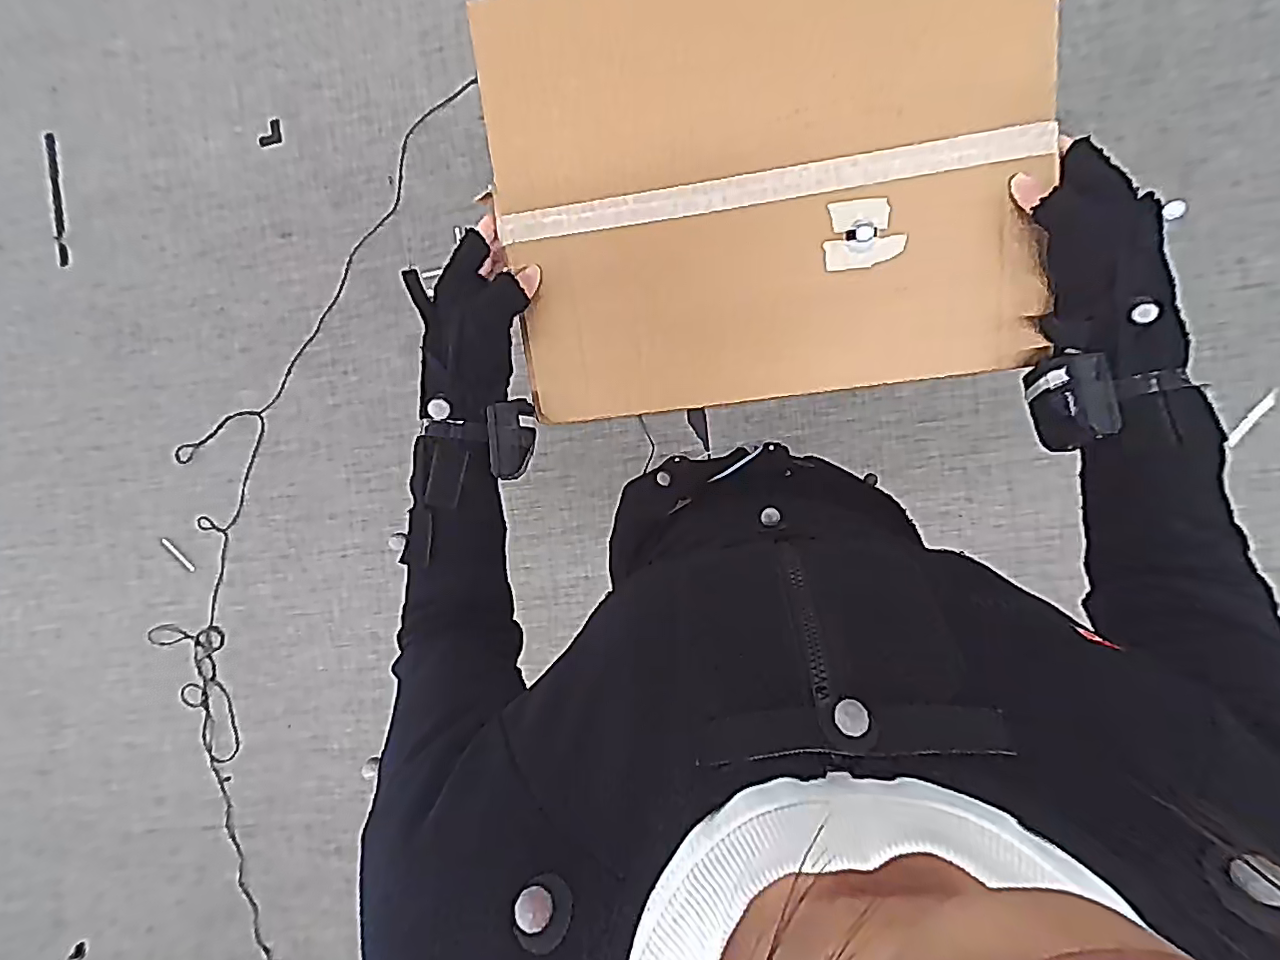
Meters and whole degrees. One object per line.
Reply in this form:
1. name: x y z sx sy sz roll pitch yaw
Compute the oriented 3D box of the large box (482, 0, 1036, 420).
1. large box: 0.104 -0.254 0.564 0.408 0.320 0.320 -7 102 6
